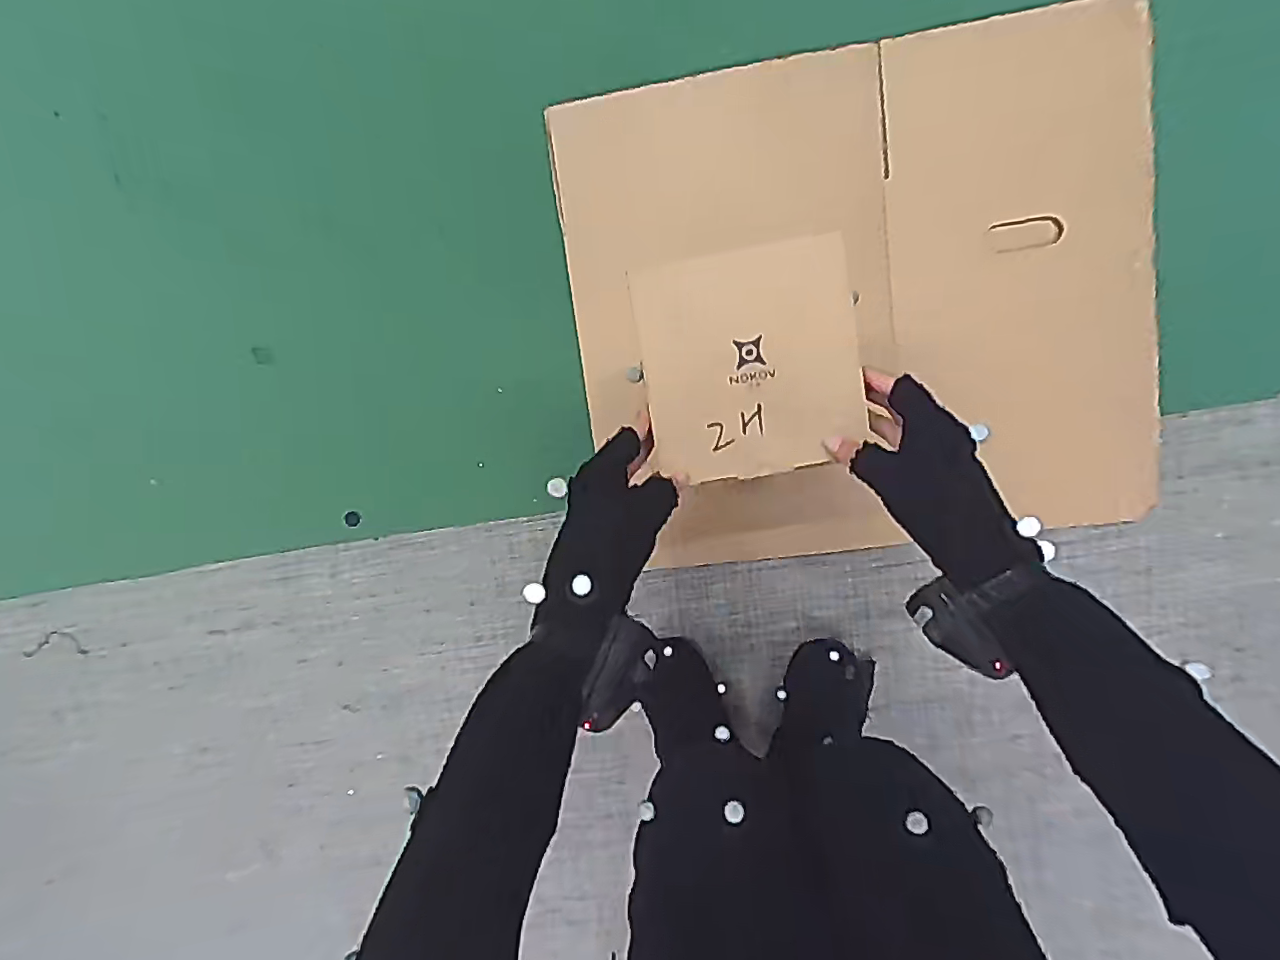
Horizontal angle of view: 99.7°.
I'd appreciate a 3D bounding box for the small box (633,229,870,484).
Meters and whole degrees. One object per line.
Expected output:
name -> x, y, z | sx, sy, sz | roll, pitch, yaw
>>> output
small box -> 0.092, -0.100, 0.498 | 0.168, 0.176, 0.179 | -9, 95, 6
